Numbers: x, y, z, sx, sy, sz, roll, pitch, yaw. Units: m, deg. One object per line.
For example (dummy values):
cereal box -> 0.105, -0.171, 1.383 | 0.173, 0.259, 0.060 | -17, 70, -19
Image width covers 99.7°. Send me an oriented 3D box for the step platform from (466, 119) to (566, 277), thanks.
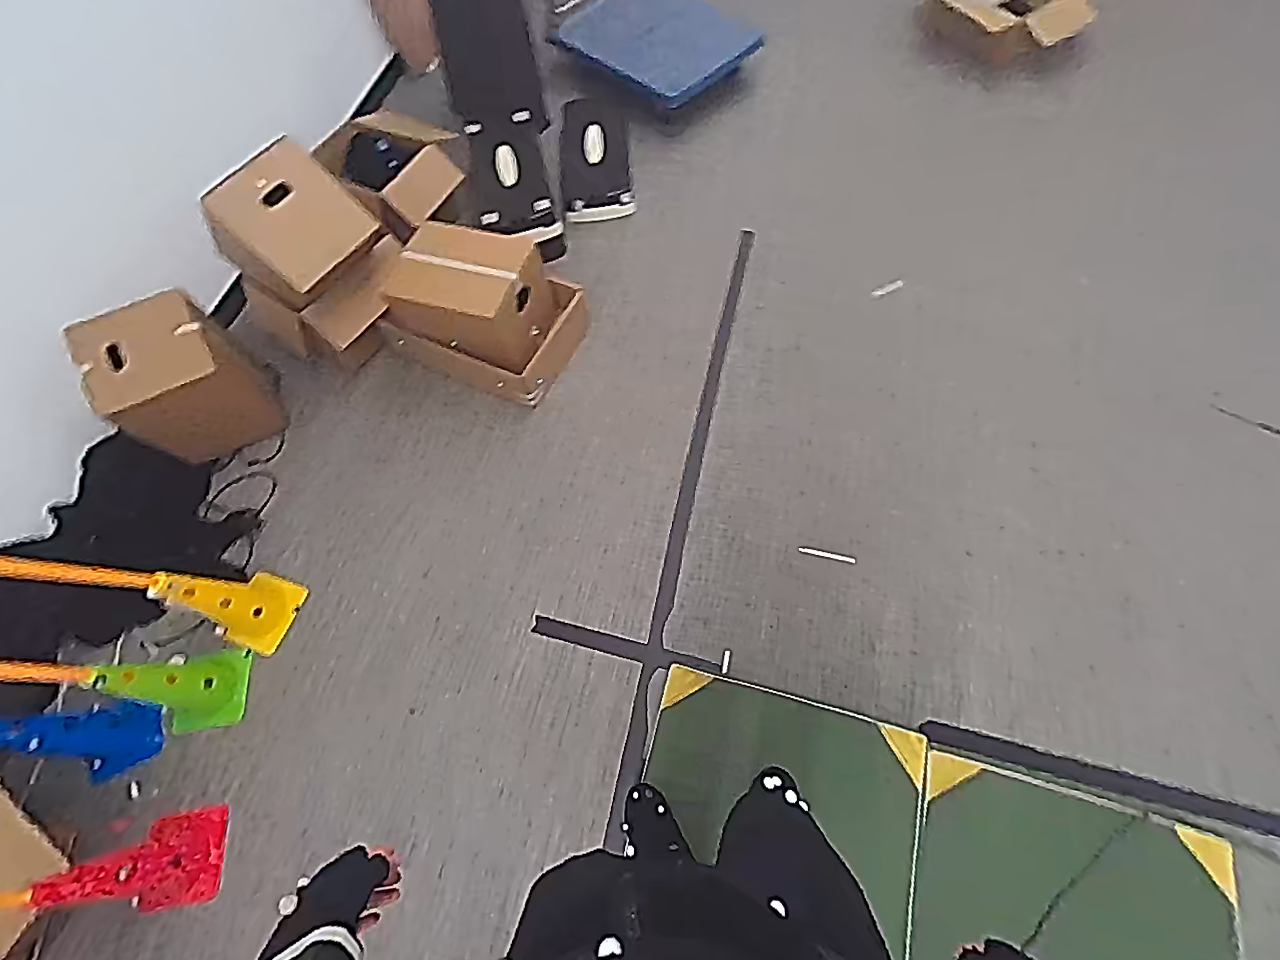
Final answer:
step platform -> -0.501, -1.139, 2.153 | 0.286, 0.204, 0.684 | -15, 65, -1
